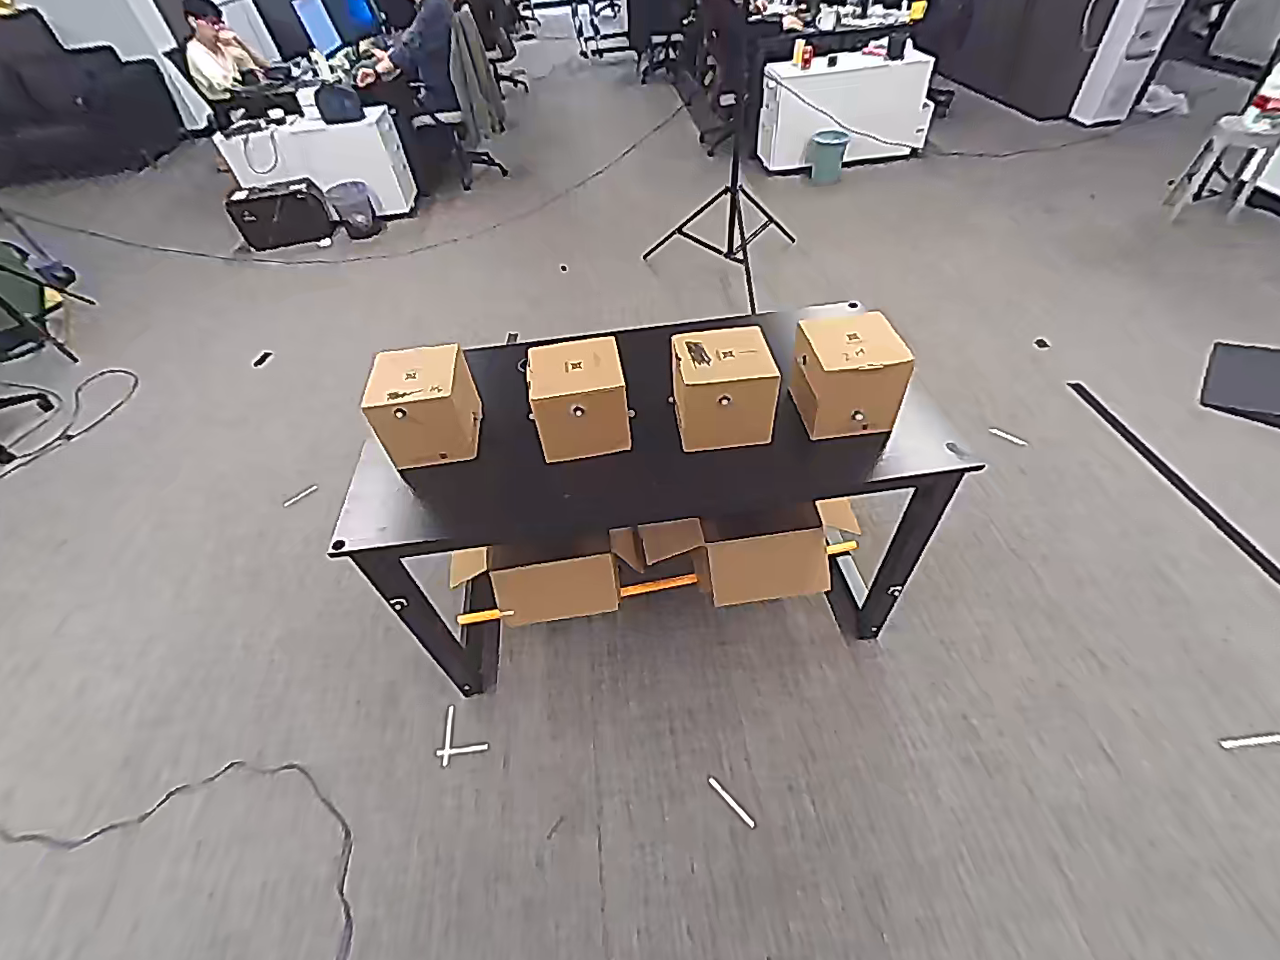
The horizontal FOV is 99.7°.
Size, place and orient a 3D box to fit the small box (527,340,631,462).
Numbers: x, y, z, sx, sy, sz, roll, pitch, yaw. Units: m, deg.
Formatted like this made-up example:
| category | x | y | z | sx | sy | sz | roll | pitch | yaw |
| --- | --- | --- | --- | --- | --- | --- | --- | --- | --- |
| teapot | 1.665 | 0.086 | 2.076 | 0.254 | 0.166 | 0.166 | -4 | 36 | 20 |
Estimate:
| category | x | y | z | sx | sy | sz | roll | pitch | yaw |
| --- | --- | --- | --- | --- | --- | --- | --- | --- | --- |
| small box | -0.120 | -0.152 | 1.080 | 0.179 | 0.176 | 0.168 | -9 | 48 | -4 |

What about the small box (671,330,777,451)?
| category | x | y | z | sx | sy | sz | roll | pitch | yaw |
| --- | --- | --- | --- | --- | --- | --- | --- | --- | --- |
| small box | 0.159 | -0.171 | 1.066 | 0.179 | 0.176 | 0.168 | -6 | 47 | 0 |

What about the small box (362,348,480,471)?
| category | x | y | z | sx | sy | sz | roll | pitch | yaw |
| --- | --- | --- | --- | --- | --- | --- | --- | --- | --- |
| small box | -0.430 | -0.142 | 1.097 | 0.168 | 0.176 | 0.179 | -8 | 47 | -2 |

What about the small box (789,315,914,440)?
| category | x | y | z | sx | sy | sz | roll | pitch | yaw |
| --- | --- | --- | --- | --- | --- | --- | --- | --- | --- |
| small box | 0.403 | -0.201 | 1.068 | 0.168 | 0.176 | 0.179 | -7 | 47 | 1 |
